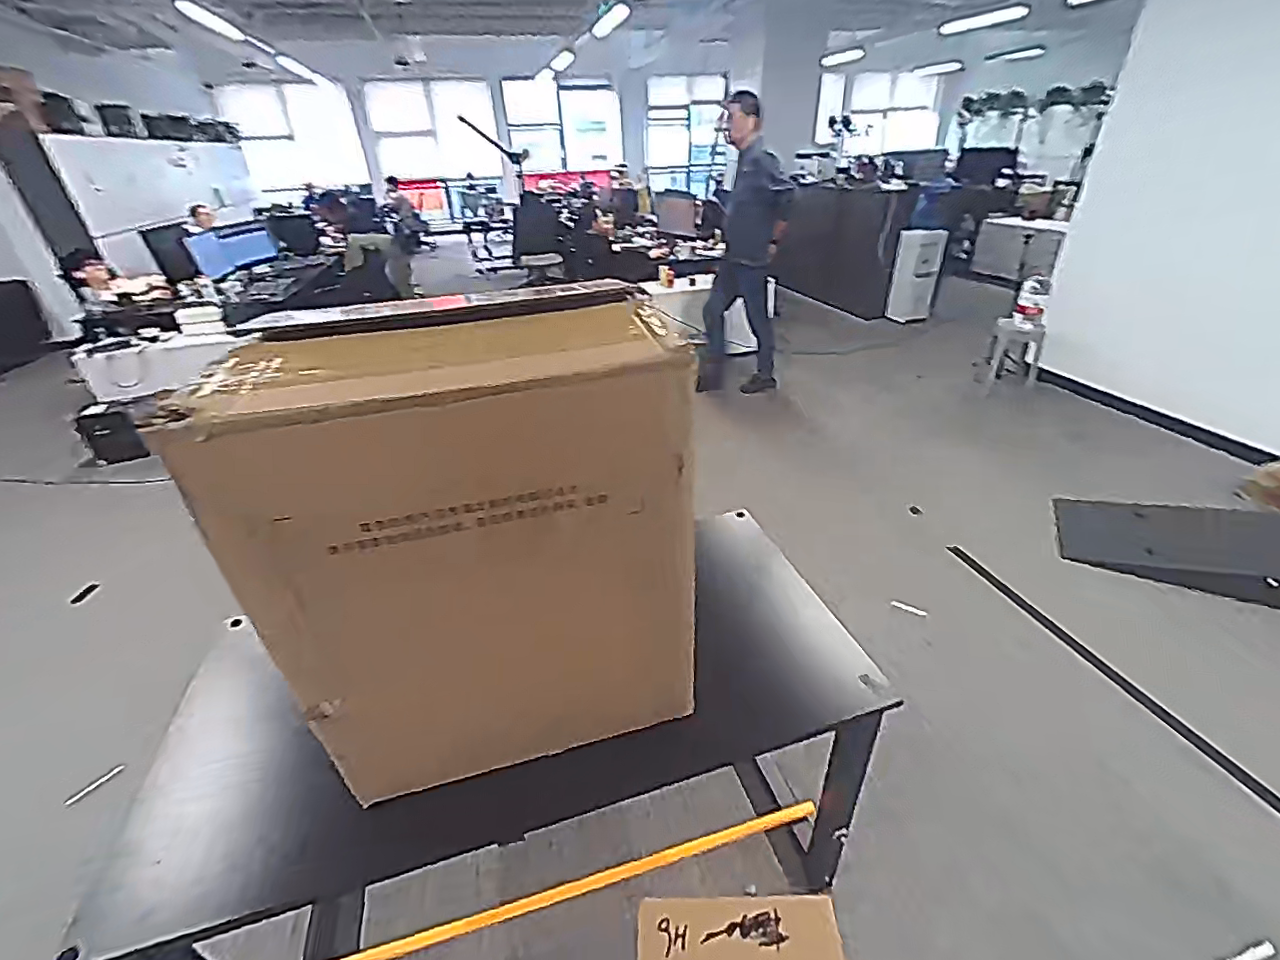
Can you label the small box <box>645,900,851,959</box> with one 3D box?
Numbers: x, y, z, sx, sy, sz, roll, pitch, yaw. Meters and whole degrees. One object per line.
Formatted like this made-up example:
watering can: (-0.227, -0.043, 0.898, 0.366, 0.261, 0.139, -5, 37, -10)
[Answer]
small box: (0.088, 0.473, 0.445, 0.168, 0.176, 0.179, -1, 40, 2)
